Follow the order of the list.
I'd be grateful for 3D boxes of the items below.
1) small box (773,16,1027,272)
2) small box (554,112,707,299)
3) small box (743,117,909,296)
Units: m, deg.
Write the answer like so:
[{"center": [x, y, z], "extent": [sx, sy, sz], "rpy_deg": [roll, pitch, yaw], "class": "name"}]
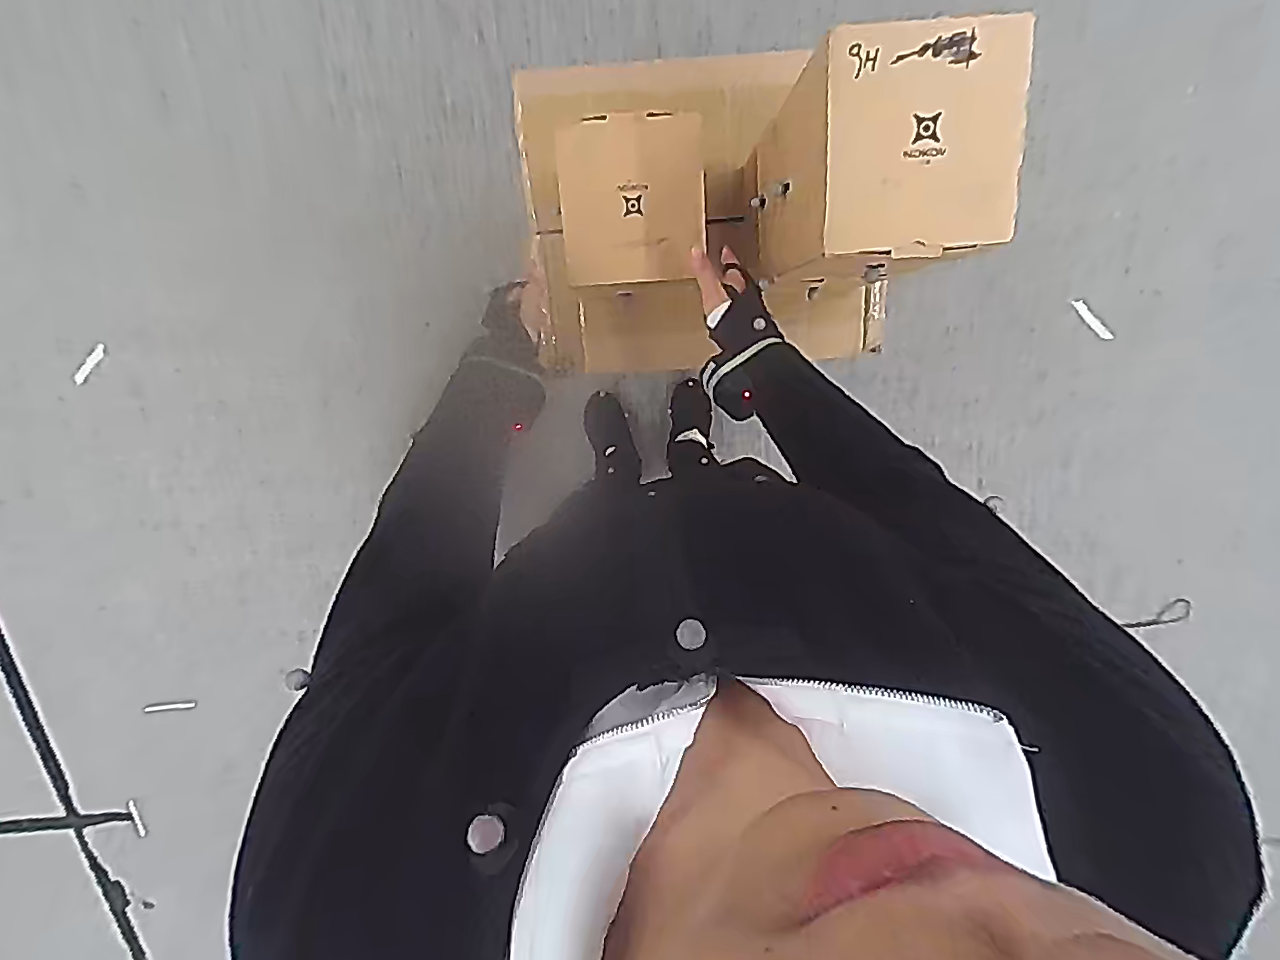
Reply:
[{"center": [0.233, -0.305, 0.533], "extent": [0.168, 0.176, 0.179], "rpy_deg": [-3, 104, 1], "class": "small box"}, {"center": [-0.011, -0.335, 0.692], "extent": [0.168, 0.176, 0.179], "rpy_deg": [-5, 105, 0], "class": "small box"}, {"center": [0.229, -0.341, 0.694], "extent": [0.168, 0.176, 0.179], "rpy_deg": [-4, 104, 2], "class": "small box"}]
